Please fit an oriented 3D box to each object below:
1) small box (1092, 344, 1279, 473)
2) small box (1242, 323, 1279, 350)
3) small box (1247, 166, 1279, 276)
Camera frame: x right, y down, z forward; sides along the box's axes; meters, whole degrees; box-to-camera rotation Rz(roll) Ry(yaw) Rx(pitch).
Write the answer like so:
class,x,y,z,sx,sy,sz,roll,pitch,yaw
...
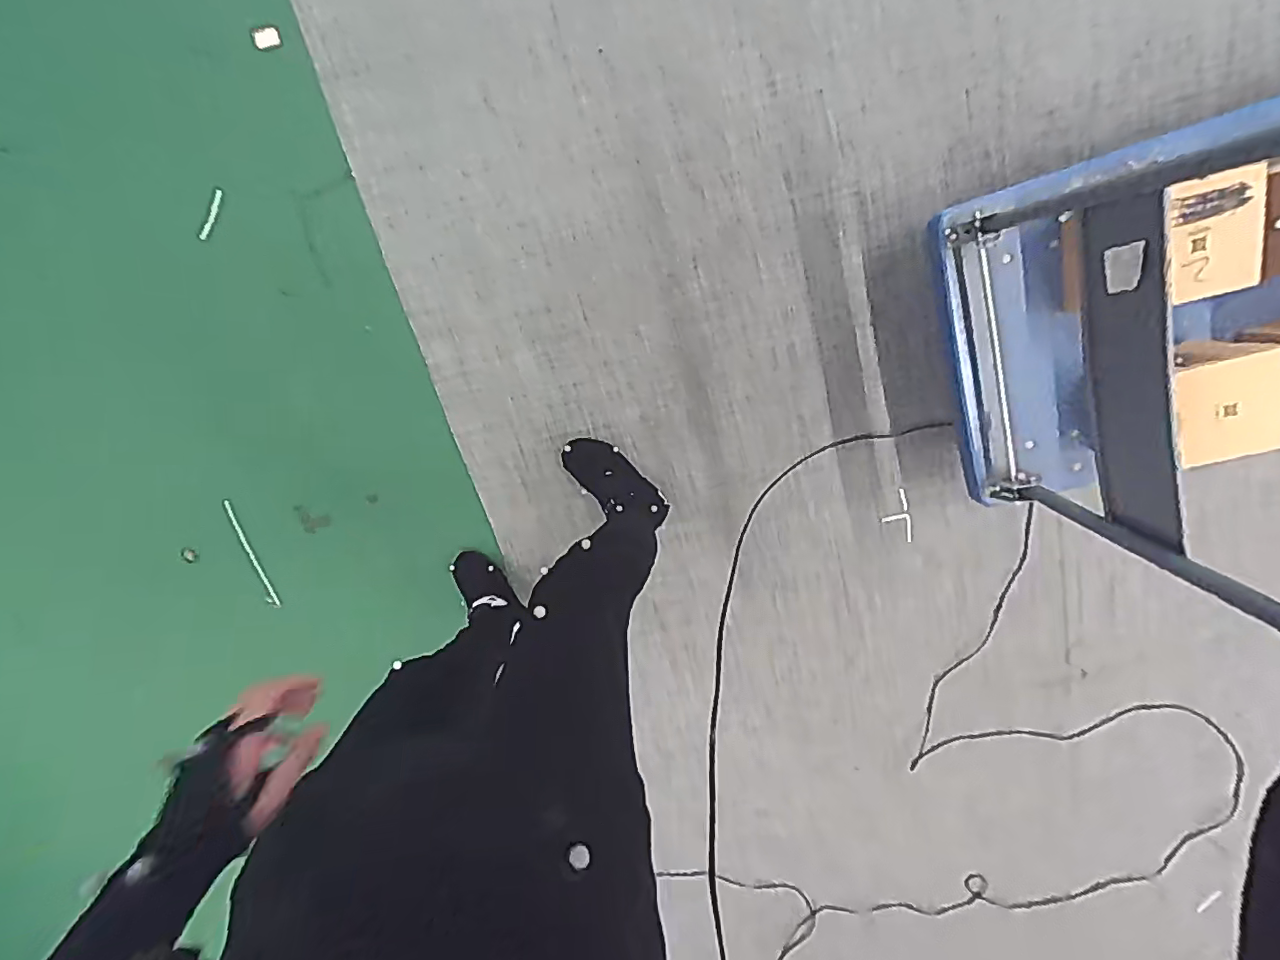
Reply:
class,x,y,z,sx,sy,sz,roll,pitch,yaw
small box,0.923,-0.128,0.919,0.179,0.176,0.168,-14,105,9
small box,1.161,-0.186,0.882,0.179,0.176,0.168,-17,104,10
small box,1.085,-0.420,0.816,0.179,0.176,0.168,-19,105,10
